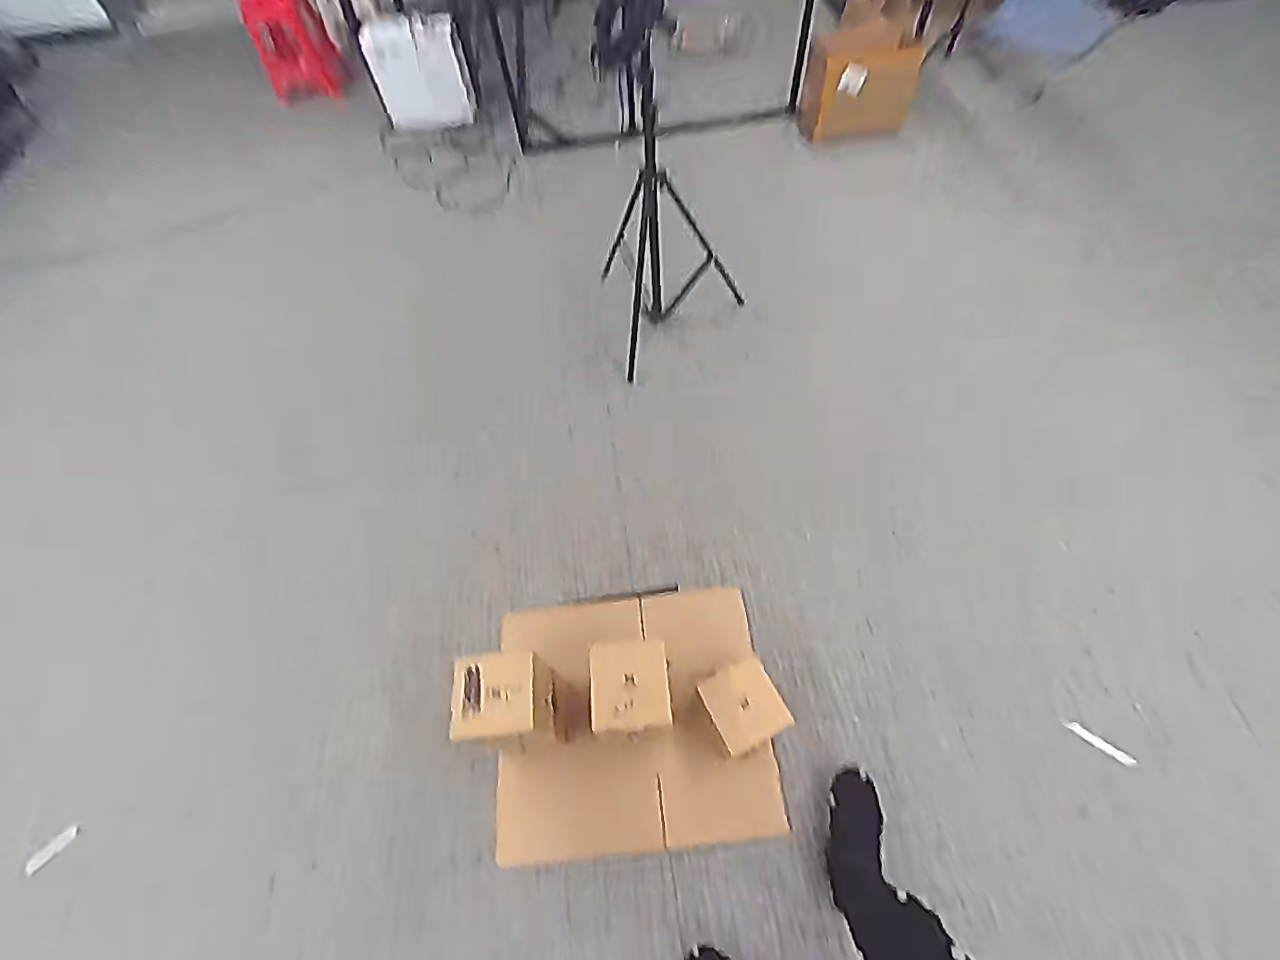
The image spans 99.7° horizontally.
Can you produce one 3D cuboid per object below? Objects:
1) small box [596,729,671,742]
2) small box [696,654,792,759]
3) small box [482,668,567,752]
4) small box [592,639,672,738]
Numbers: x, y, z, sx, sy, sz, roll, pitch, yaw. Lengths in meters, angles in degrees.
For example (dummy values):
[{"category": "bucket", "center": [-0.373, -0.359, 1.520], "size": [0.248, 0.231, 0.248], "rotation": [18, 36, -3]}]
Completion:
[{"category": "small box", "center": [-0.017, 0.557, 1.354], "size": [0.179, 0.176, 0.168], "rotation": [-6, 60, 1]}, {"category": "small box", "center": [0.246, 0.561, 1.332], "size": [0.168, 0.176, 0.179], "rotation": [-25, 60, -9]}, {"category": "small box", "center": [-0.282, 0.581, 1.358], "size": [0.179, 0.176, 0.168], "rotation": [-8, 59, 1]}, {"category": "small box", "center": [-0.017, 0.470, 1.214], "size": [0.168, 0.176, 0.179], "rotation": [-5, 60, 1]}]
